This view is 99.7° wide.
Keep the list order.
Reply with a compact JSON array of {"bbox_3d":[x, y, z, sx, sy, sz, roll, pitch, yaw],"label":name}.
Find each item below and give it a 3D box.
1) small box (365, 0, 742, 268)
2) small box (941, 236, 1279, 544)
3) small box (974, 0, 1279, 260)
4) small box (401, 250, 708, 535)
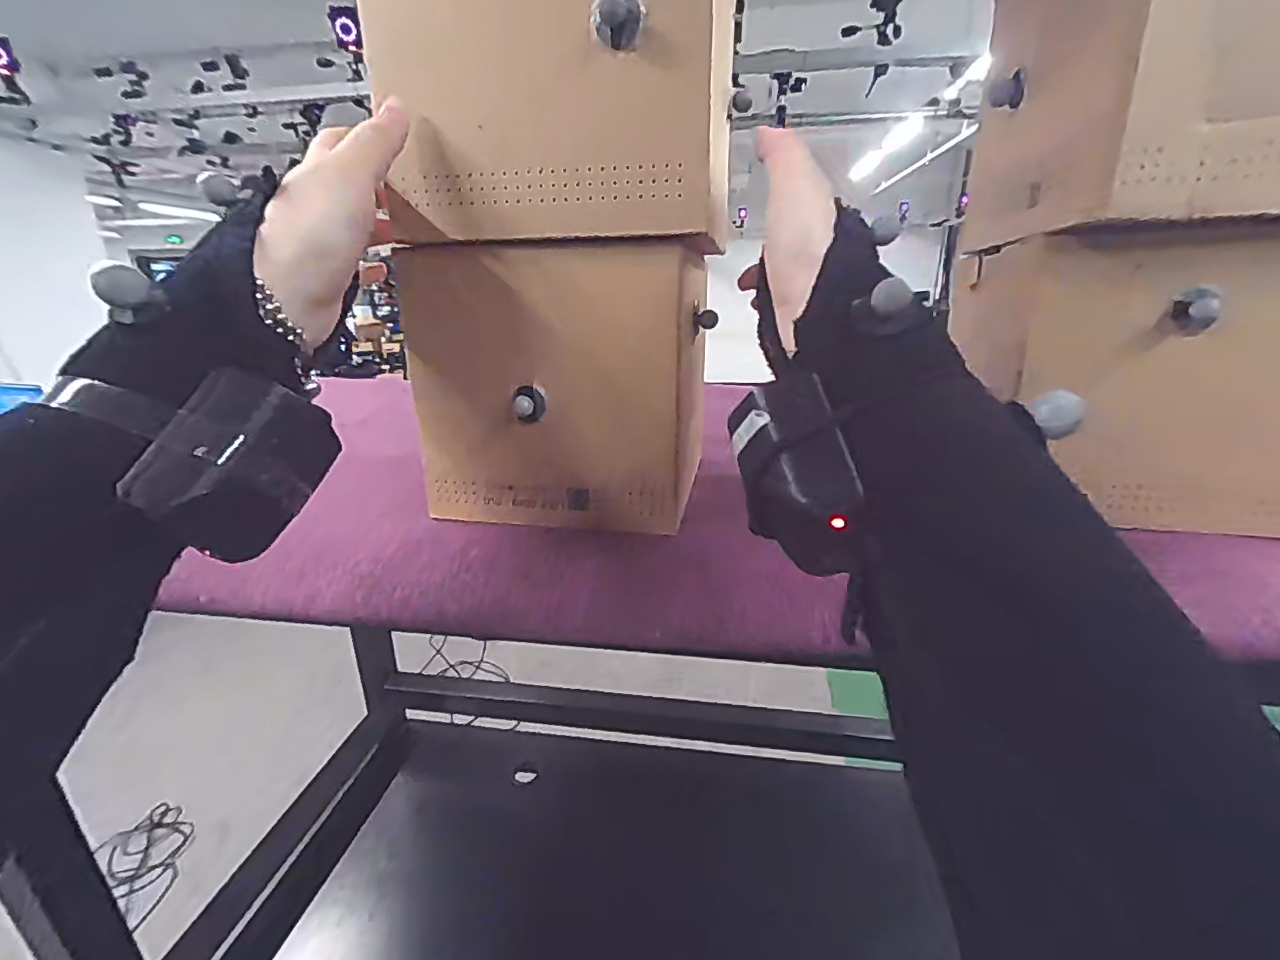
[{"bbox_3d":[-0.033,-0.218,0.328,0.179,0.176,0.168,2,18,11],"label":"small box"},{"bbox_3d":[0.322,-0.066,0.368,0.179,0.176,0.168,4,18,14],"label":"small box"},{"bbox_3d":[0.315,-0.216,0.306,0.179,0.176,0.168,2,18,10],"label":"small box"},{"bbox_3d":[-0.040,-0.070,0.395,0.168,0.176,0.179,4,19,10],"label":"small box"}]
